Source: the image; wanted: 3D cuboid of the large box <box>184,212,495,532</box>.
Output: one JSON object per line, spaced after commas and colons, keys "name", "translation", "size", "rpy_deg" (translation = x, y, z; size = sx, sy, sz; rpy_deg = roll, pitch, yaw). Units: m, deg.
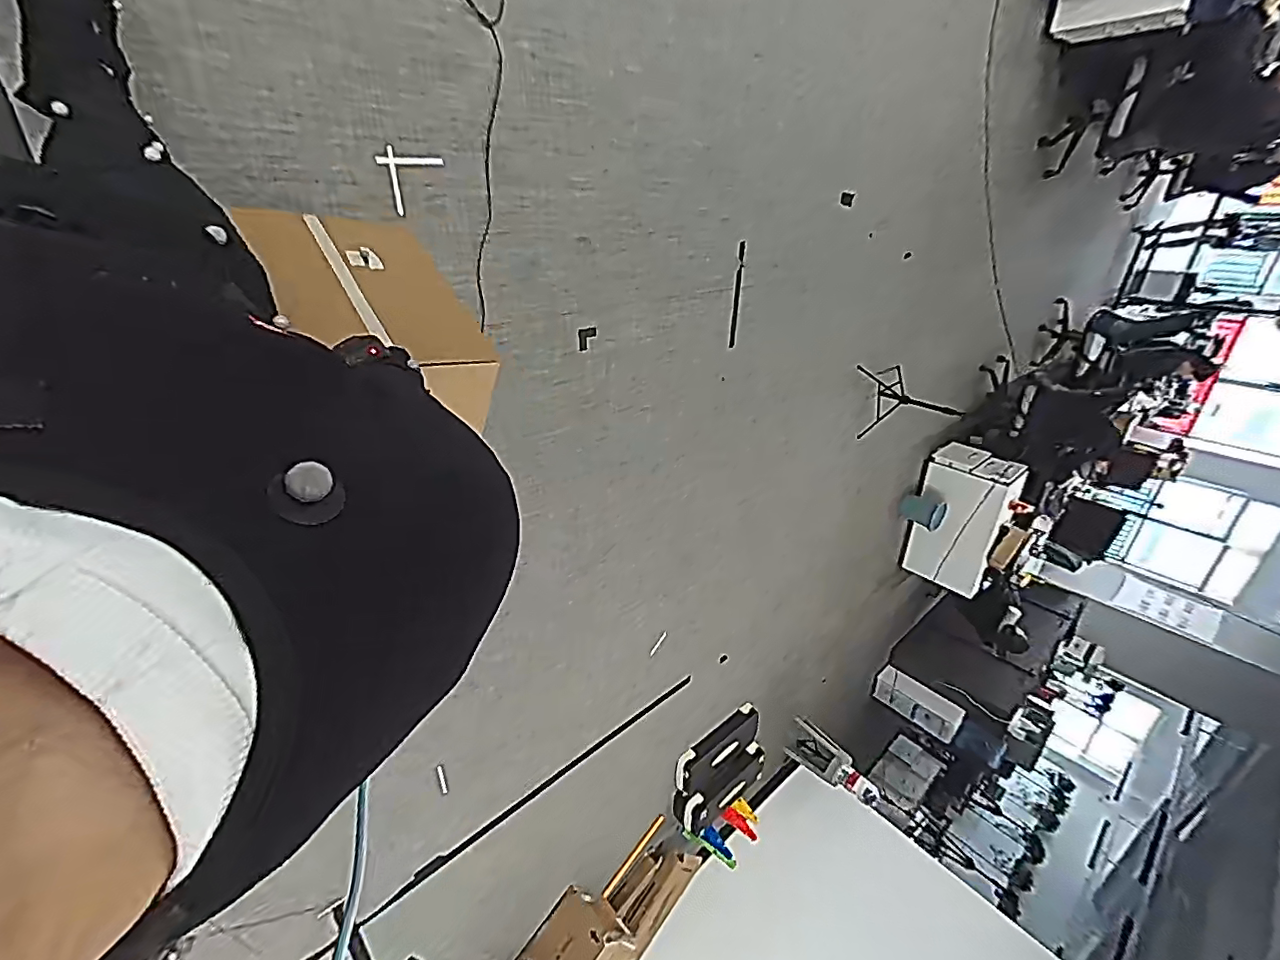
{"name": "large box", "translation": [-0.496, -0.186, 0.898], "size": [0.320, 0.408, 0.320], "rpy_deg": [-14, 144, -42]}
